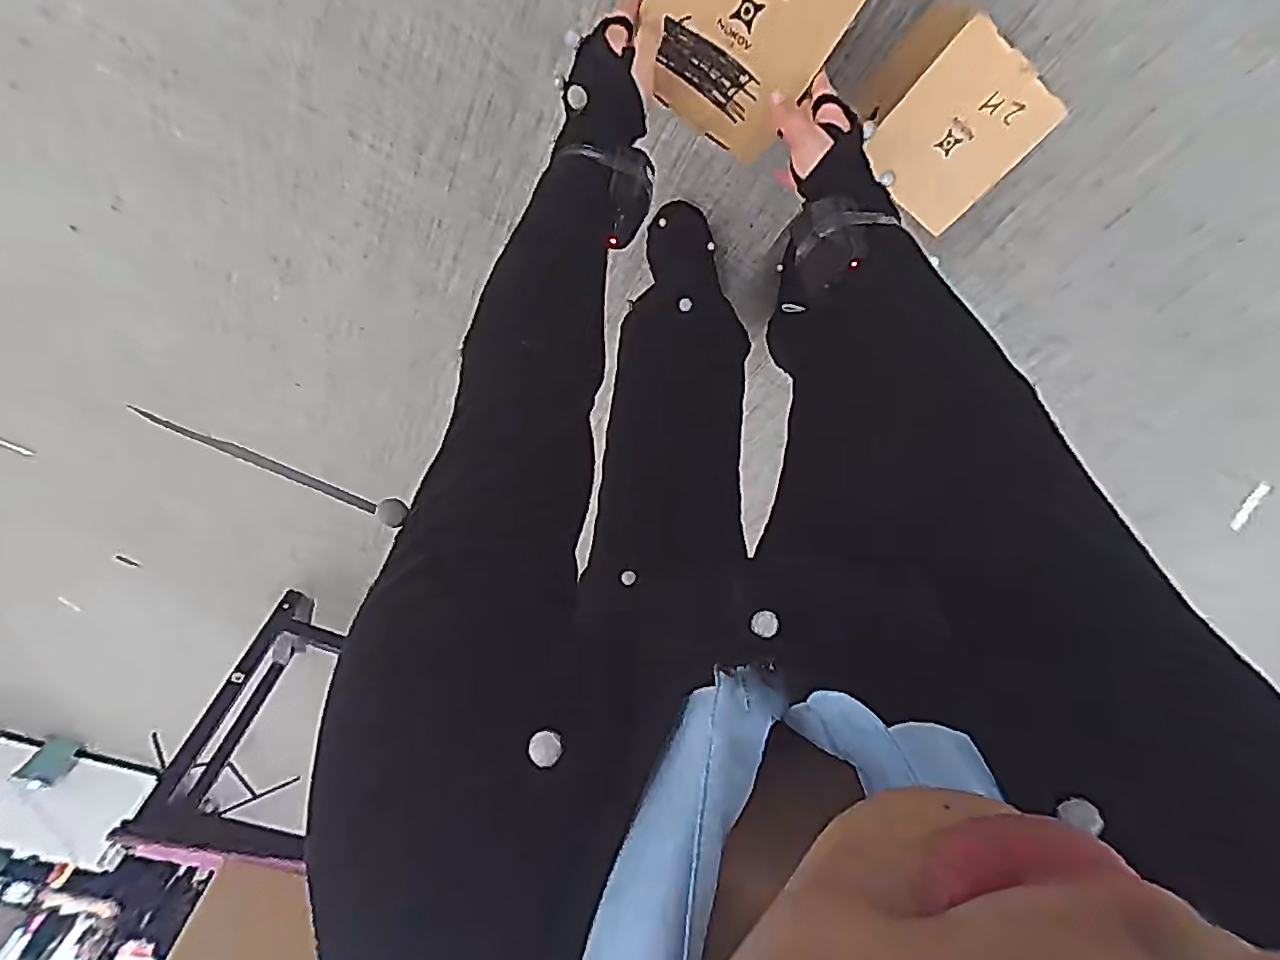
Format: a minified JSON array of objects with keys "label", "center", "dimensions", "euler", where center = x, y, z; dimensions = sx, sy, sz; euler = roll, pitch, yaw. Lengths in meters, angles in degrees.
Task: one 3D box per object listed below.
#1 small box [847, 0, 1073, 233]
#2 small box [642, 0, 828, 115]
[{"label":"small box","center":[0.389,-0.467,0.696],"dimensions":[0.168,0.176,0.179],"euler":[29,132,-19]},{"label":"small box","center":[0.121,-0.582,0.635],"dimensions":[0.168,0.176,0.179],"euler":[28,132,-16]}]
